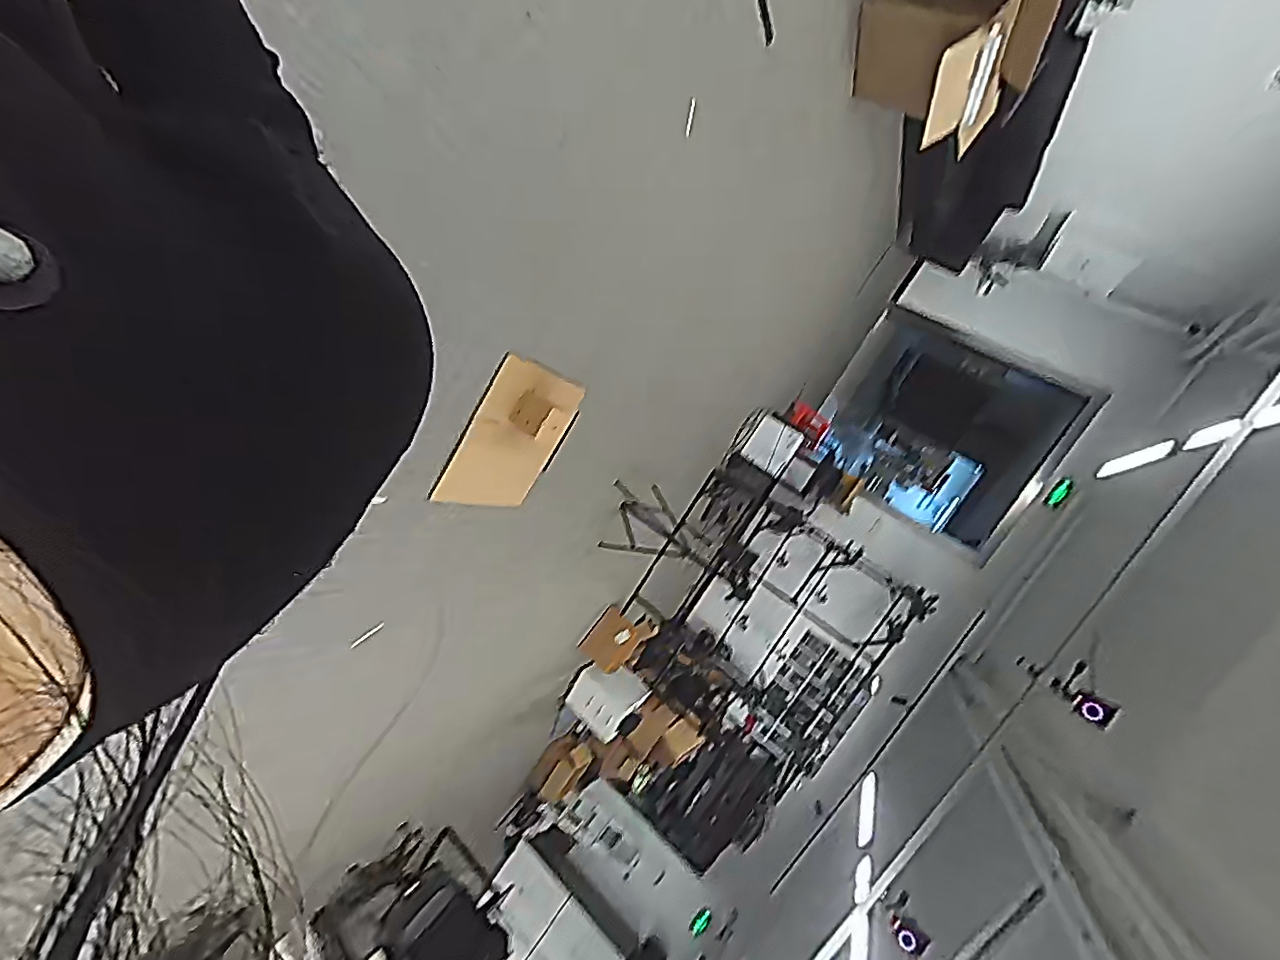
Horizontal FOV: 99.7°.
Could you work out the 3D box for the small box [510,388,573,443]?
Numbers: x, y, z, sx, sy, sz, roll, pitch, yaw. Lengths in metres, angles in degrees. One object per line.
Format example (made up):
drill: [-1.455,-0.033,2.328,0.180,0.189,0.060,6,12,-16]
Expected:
small box: [-0.433,-0.284,2.364,0.168,0.176,0.179,-57,157,9]
